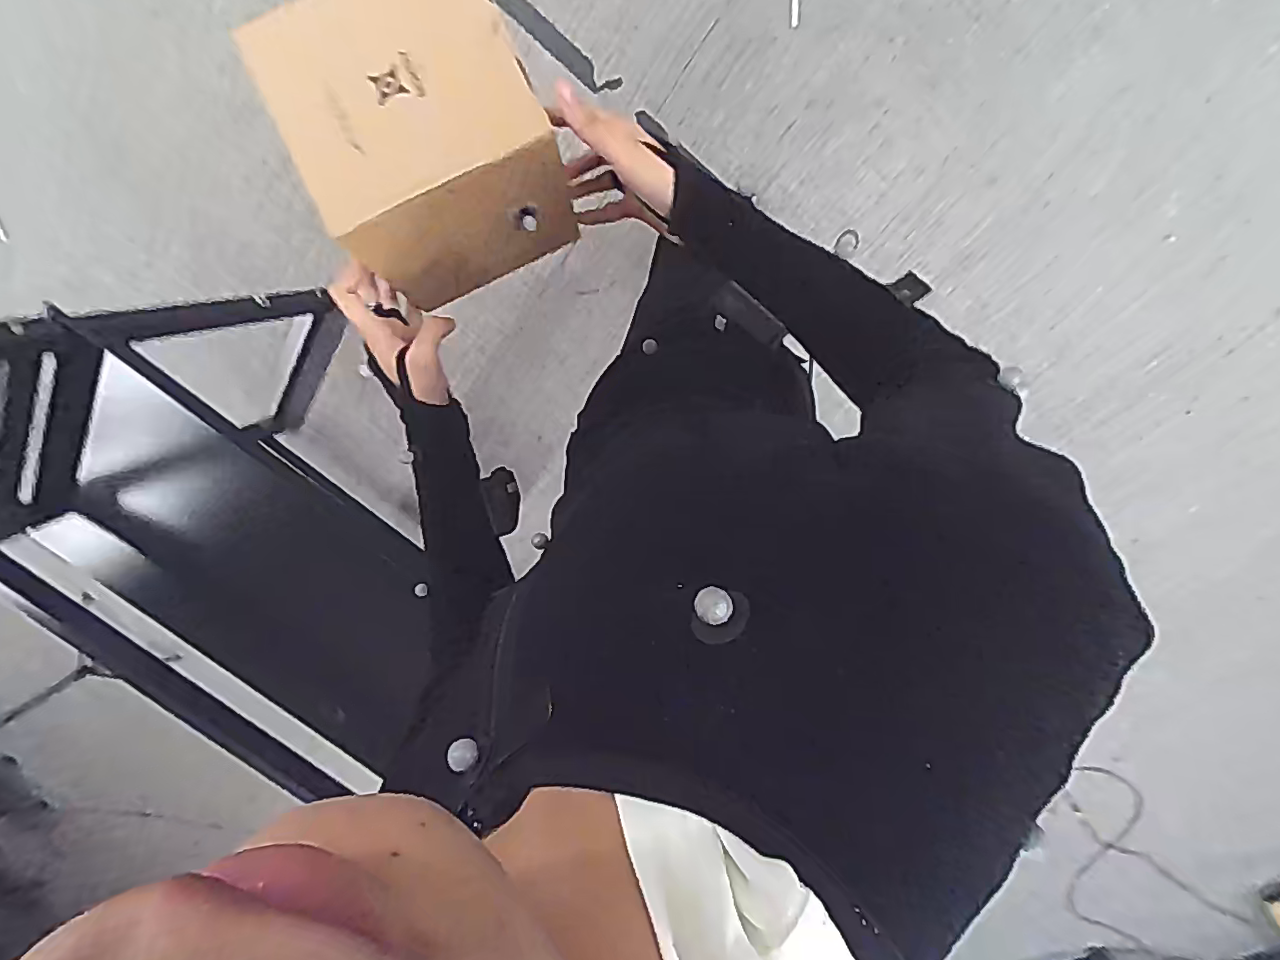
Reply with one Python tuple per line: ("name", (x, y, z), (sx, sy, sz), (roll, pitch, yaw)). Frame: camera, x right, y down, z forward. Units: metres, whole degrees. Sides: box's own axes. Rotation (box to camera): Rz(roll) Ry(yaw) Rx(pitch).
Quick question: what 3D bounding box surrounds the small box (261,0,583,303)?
("small box", (-0.157, -0.280, 0.459), (0.179, 0.176, 0.168), (-25, 89, -1))
